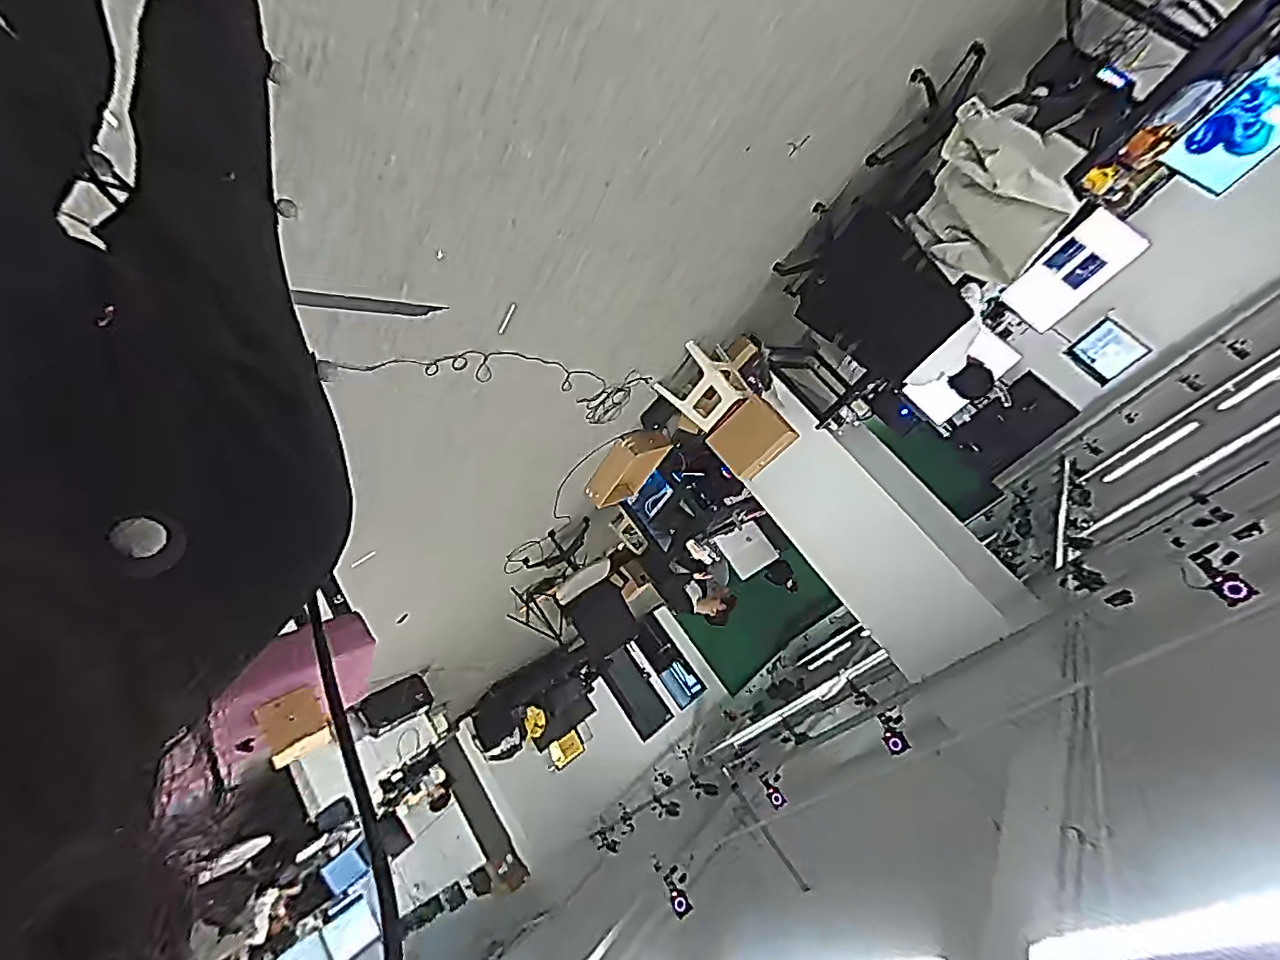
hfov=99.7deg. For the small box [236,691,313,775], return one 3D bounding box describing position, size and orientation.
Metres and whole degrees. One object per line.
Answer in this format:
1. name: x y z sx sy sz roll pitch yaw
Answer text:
1. small box: -1.200 0.827 1.779 0.168 0.176 0.179 -21 155 -41
